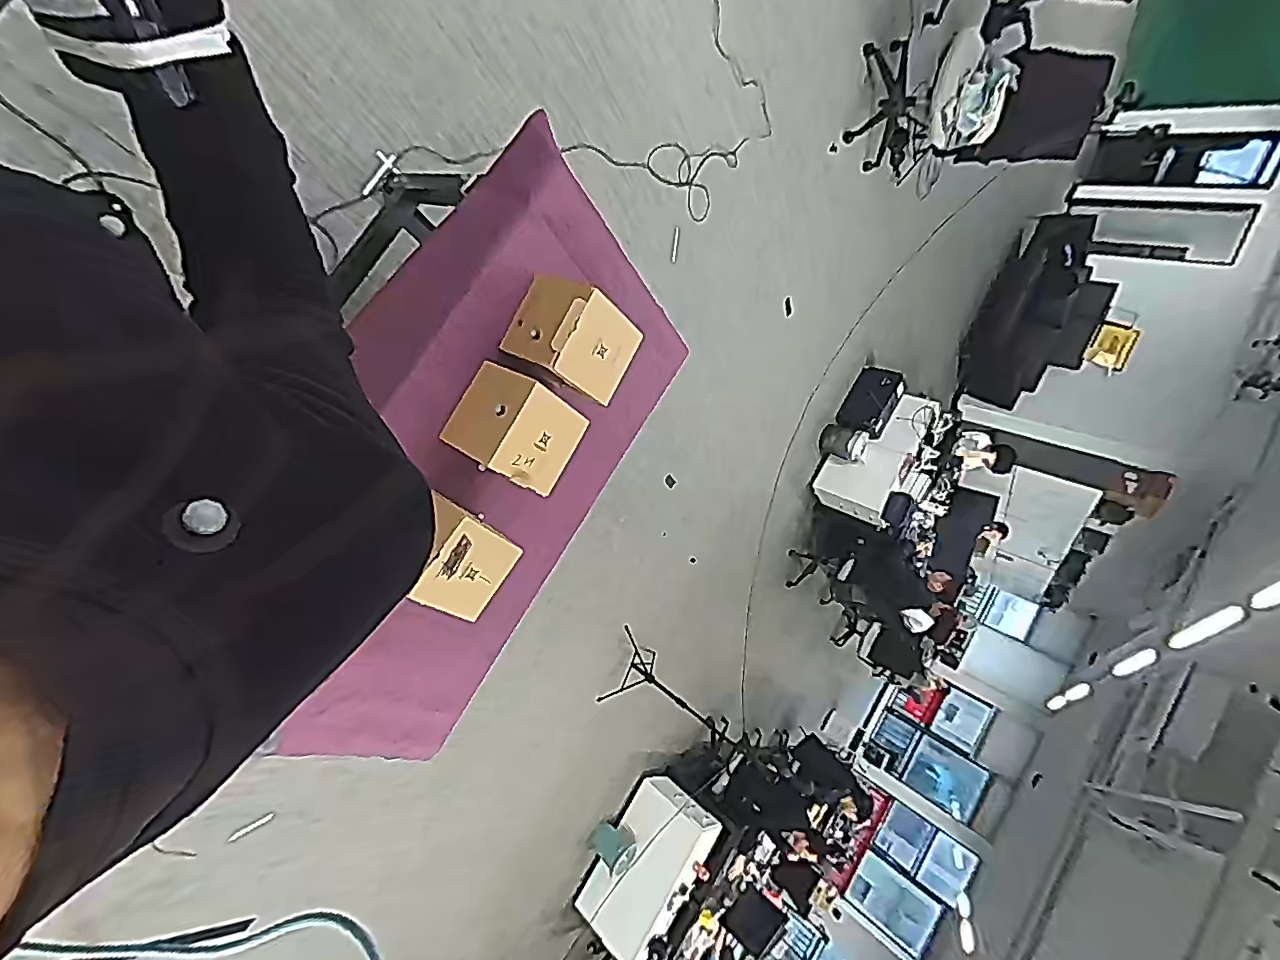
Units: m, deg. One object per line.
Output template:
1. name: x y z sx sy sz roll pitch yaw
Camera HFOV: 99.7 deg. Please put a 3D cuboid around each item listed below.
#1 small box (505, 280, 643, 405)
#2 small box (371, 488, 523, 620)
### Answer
1. small box: -0.132 -0.274 1.065 0.179 0.176 0.168 30 88 -54
2. small box: -0.366 0.135 1.024 0.168 0.176 0.179 -56 144 -10
